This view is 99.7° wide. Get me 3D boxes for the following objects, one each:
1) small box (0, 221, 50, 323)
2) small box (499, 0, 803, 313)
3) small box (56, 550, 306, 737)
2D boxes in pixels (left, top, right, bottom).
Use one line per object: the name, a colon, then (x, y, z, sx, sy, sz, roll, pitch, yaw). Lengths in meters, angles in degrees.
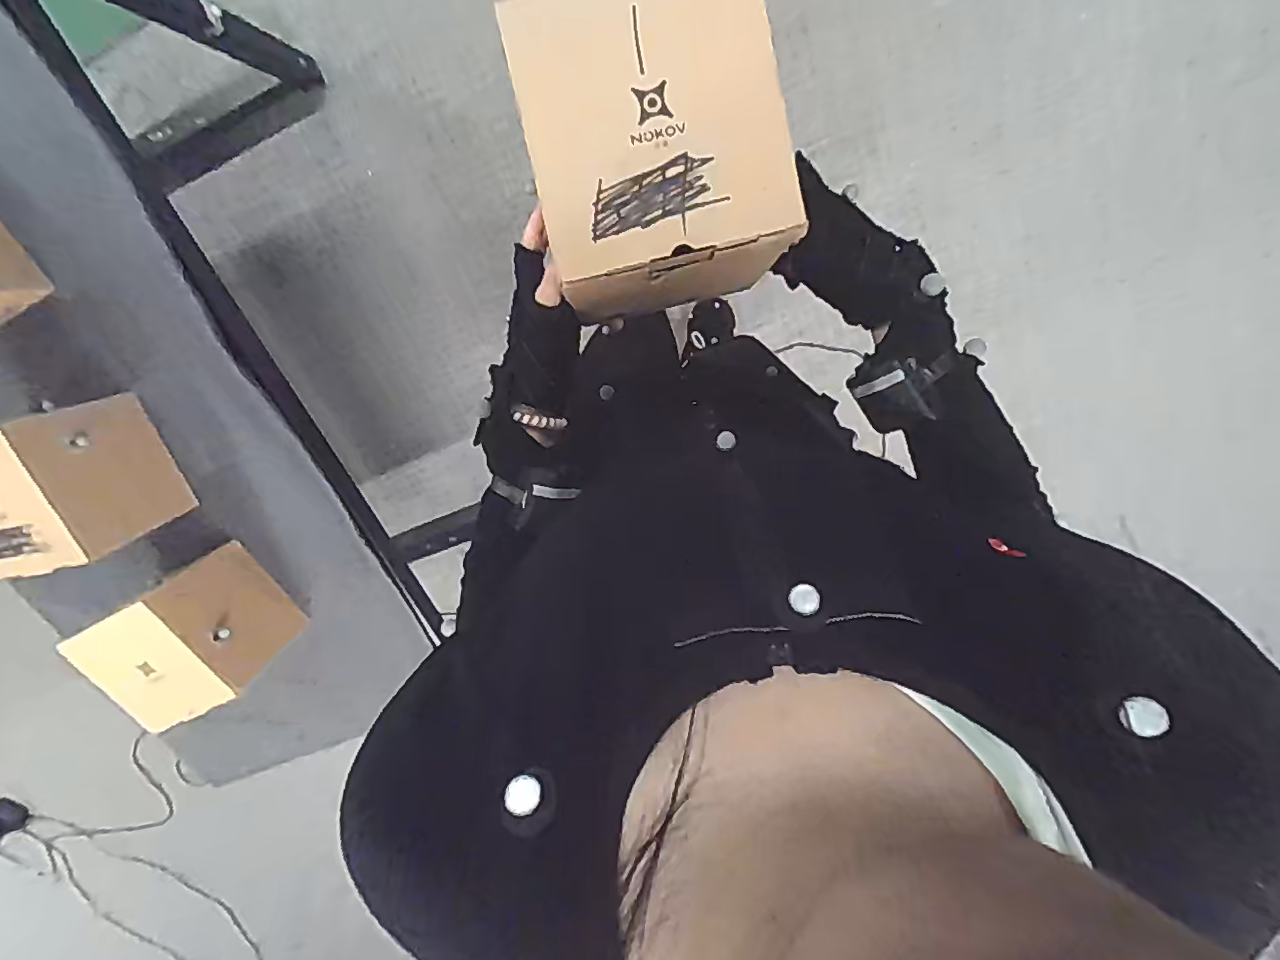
small box: (-0.845, -0.254, 0.592, 0.168, 0.176, 0.179, -22, 110, 11)
small box: (0.009, -0.239, 0.419, 0.168, 0.176, 0.179, -12, 96, 1)
small box: (-0.644, 0.223, 0.784, 0.168, 0.176, 0.179, -25, 110, 11)
